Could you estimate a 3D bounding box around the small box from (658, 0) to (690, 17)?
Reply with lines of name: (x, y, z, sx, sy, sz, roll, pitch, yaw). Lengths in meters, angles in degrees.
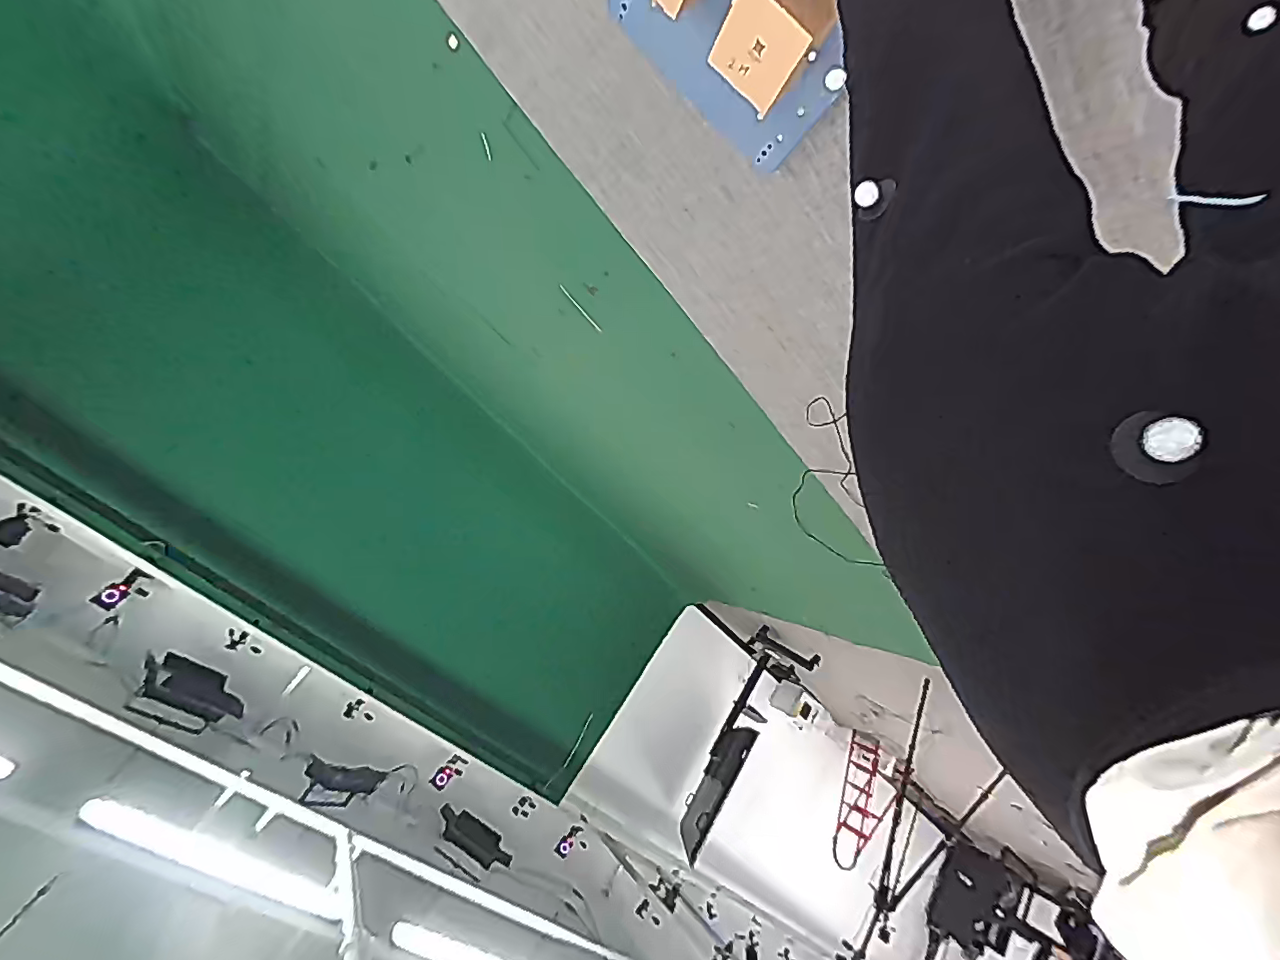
small box: (0.086, -1.076, 1.047, 0.168, 0.176, 0.179, 39, 159, -10)

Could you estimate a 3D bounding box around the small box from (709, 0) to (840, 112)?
small box: (0.278, -0.914, 1.096, 0.168, 0.176, 0.179, 39, 159, -7)
